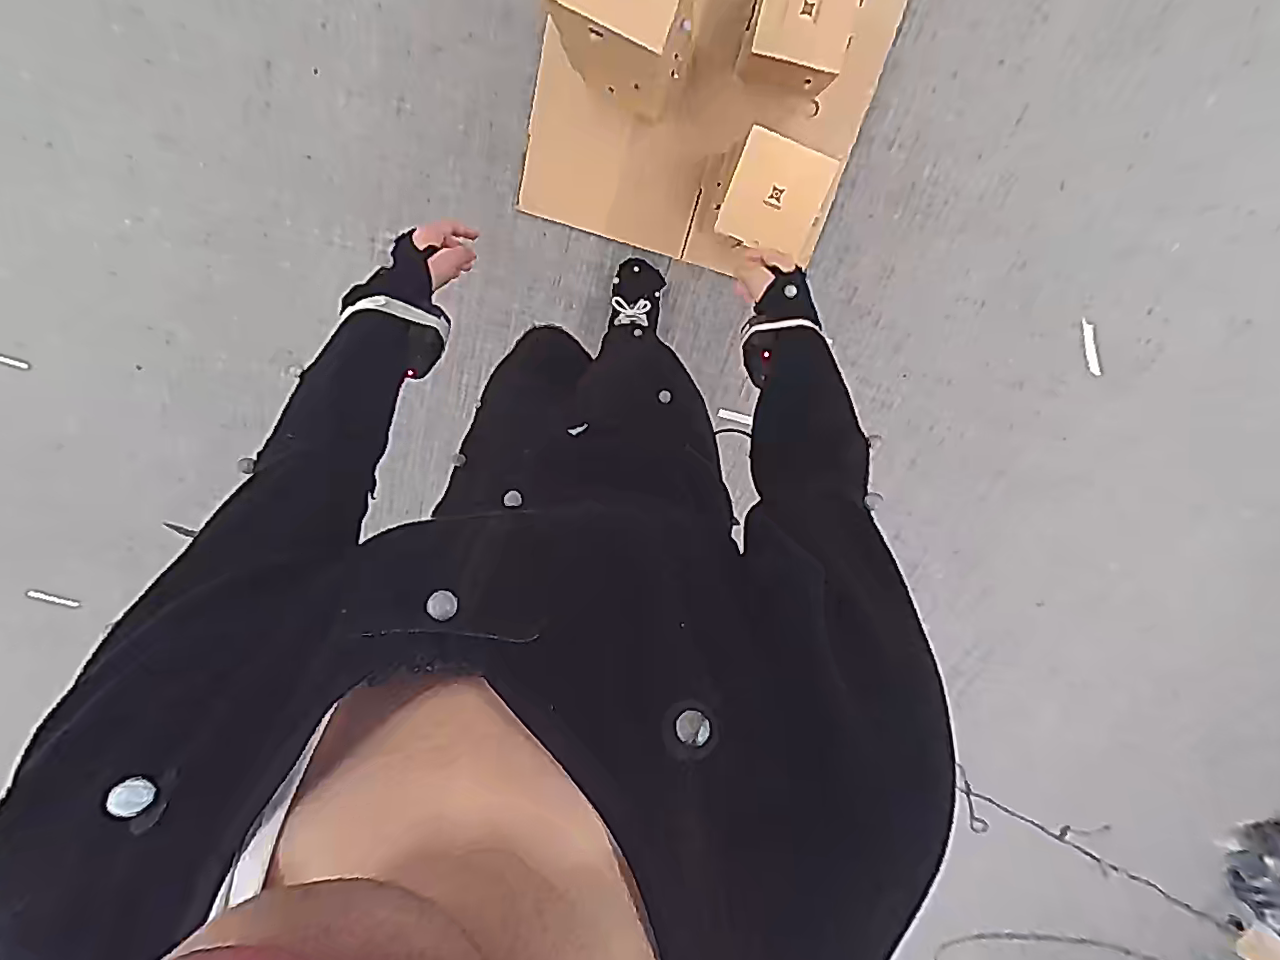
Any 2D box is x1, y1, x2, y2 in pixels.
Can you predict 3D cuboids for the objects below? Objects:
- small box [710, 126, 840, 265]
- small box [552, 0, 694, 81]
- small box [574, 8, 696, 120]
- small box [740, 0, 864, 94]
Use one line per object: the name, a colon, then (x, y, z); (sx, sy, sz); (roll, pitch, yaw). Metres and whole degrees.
small box: (0.239, -0.526, 1.016); (0.168, 0.176, 0.179); (19, 115, -7)
small box: (-0.016, -0.703, 0.760); (0.179, 0.176, 0.168); (22, 113, -8)
small box: (-0.007, -0.842, 1.059); (0.179, 0.176, 0.168); (24, 113, -8)
small box: (0.307, -0.871, 1.039); (0.179, 0.176, 0.168); (11, 113, -4)
